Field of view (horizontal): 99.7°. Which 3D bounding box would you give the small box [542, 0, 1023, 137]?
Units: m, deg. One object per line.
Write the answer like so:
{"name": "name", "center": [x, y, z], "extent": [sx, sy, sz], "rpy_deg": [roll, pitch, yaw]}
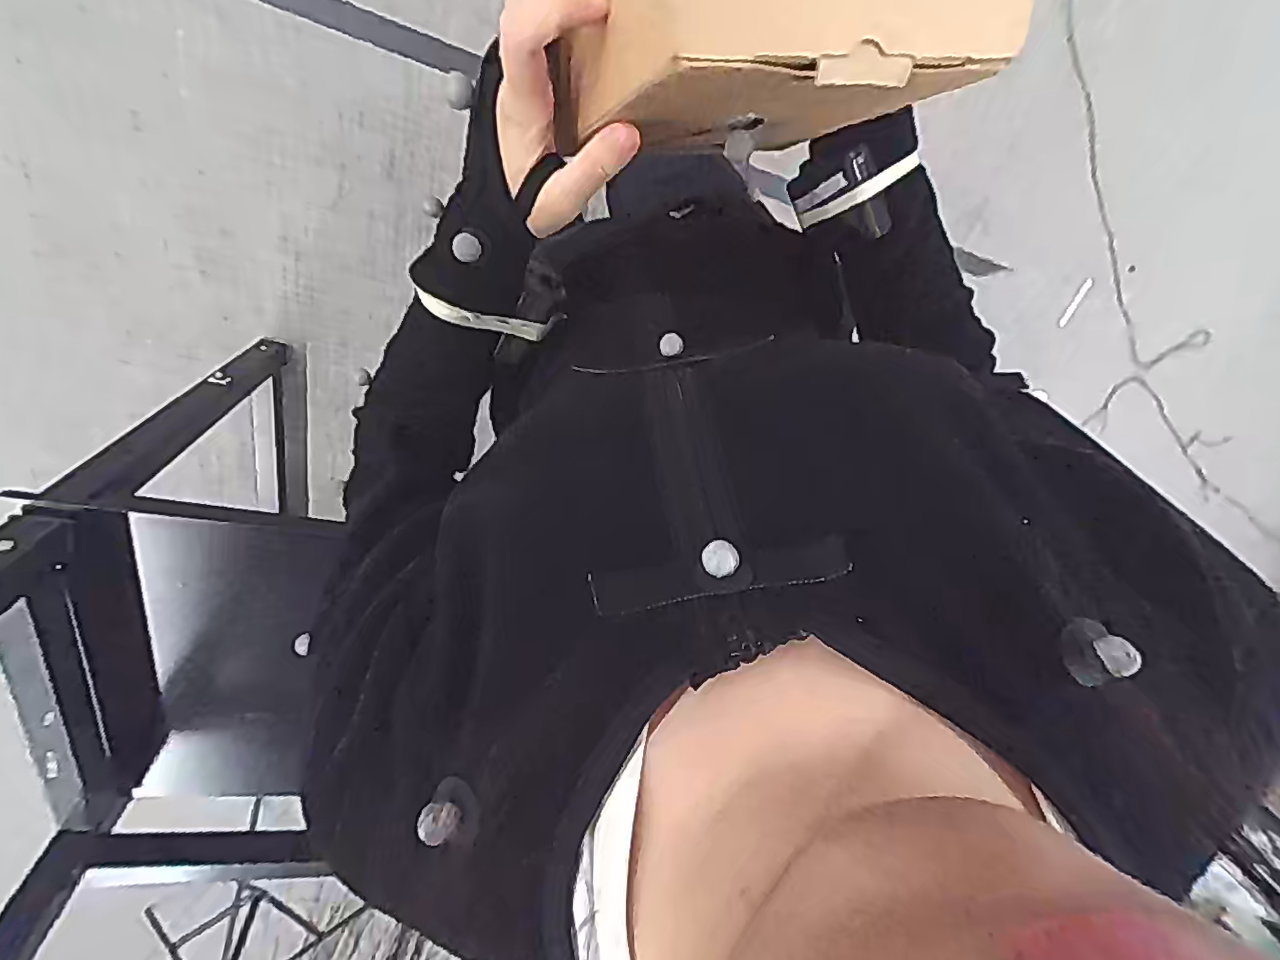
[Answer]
{"name": "small box", "center": [0.051, -0.269, 0.246], "extent": [0.168, 0.176, 0.179], "rpy_deg": [-15, 116, -19]}
